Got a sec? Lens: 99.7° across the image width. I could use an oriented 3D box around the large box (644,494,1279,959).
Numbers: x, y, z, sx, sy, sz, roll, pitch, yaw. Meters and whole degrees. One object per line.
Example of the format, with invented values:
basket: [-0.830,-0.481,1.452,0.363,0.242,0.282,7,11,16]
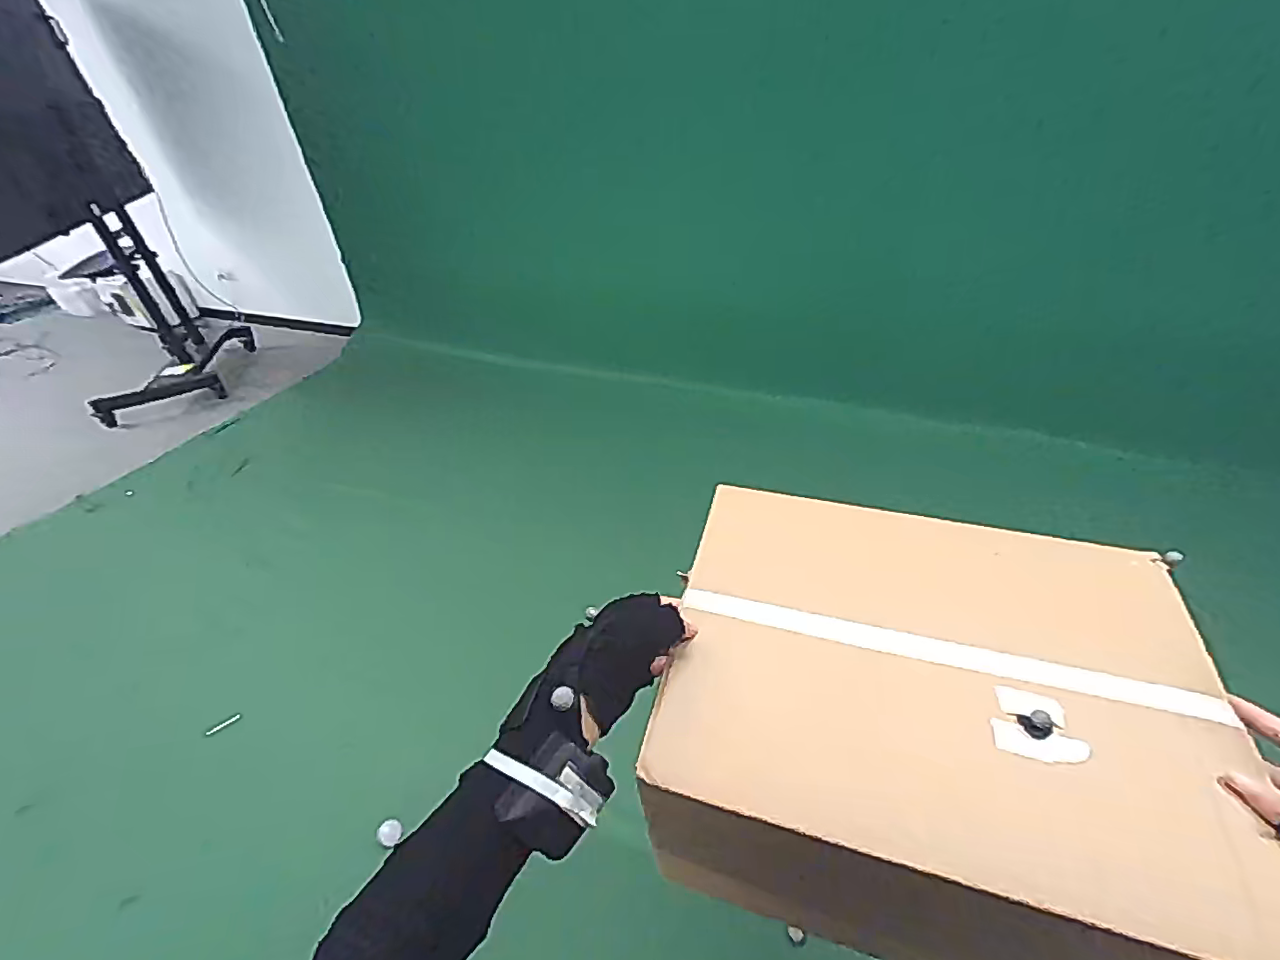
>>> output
large box: [0.241,0.251,0.552,0.408,0.320,0.320,9,46,15]
